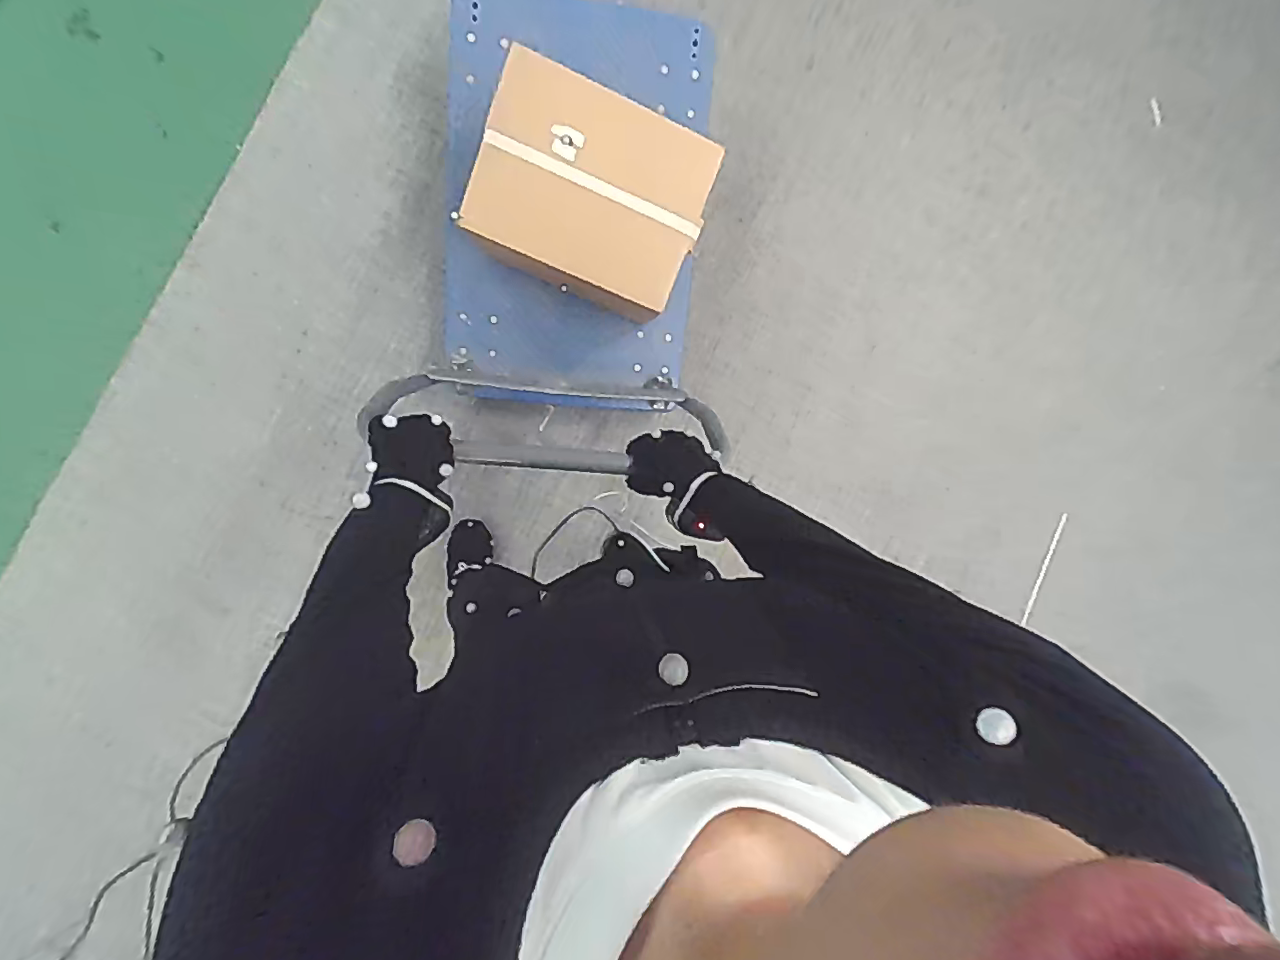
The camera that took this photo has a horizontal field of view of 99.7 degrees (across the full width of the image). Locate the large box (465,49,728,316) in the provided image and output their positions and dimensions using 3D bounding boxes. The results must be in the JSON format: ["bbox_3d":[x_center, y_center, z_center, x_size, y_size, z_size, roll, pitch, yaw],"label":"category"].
[{"bbox_3d":[-0.085,-0.561,1.114,0.408,0.320,0.320,21,100,-8],"label":"large box"}]
